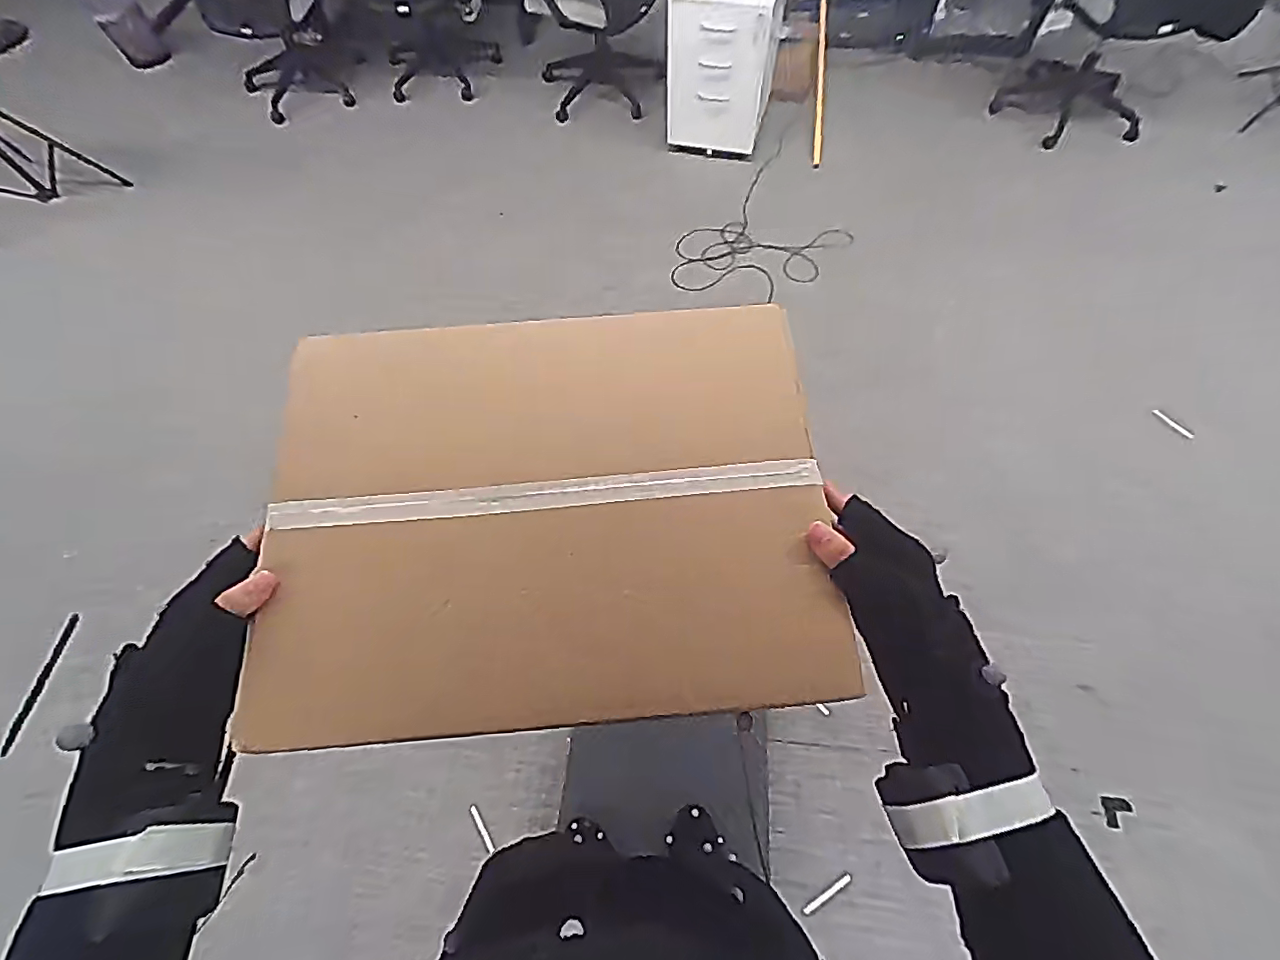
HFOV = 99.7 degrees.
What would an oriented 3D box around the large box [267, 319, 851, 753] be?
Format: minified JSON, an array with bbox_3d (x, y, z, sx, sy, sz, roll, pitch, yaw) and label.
[{"bbox_3d":[-0.062,0.071,0.553,0.408,0.320,0.320,-5,69,-1],"label":"large box"}]
